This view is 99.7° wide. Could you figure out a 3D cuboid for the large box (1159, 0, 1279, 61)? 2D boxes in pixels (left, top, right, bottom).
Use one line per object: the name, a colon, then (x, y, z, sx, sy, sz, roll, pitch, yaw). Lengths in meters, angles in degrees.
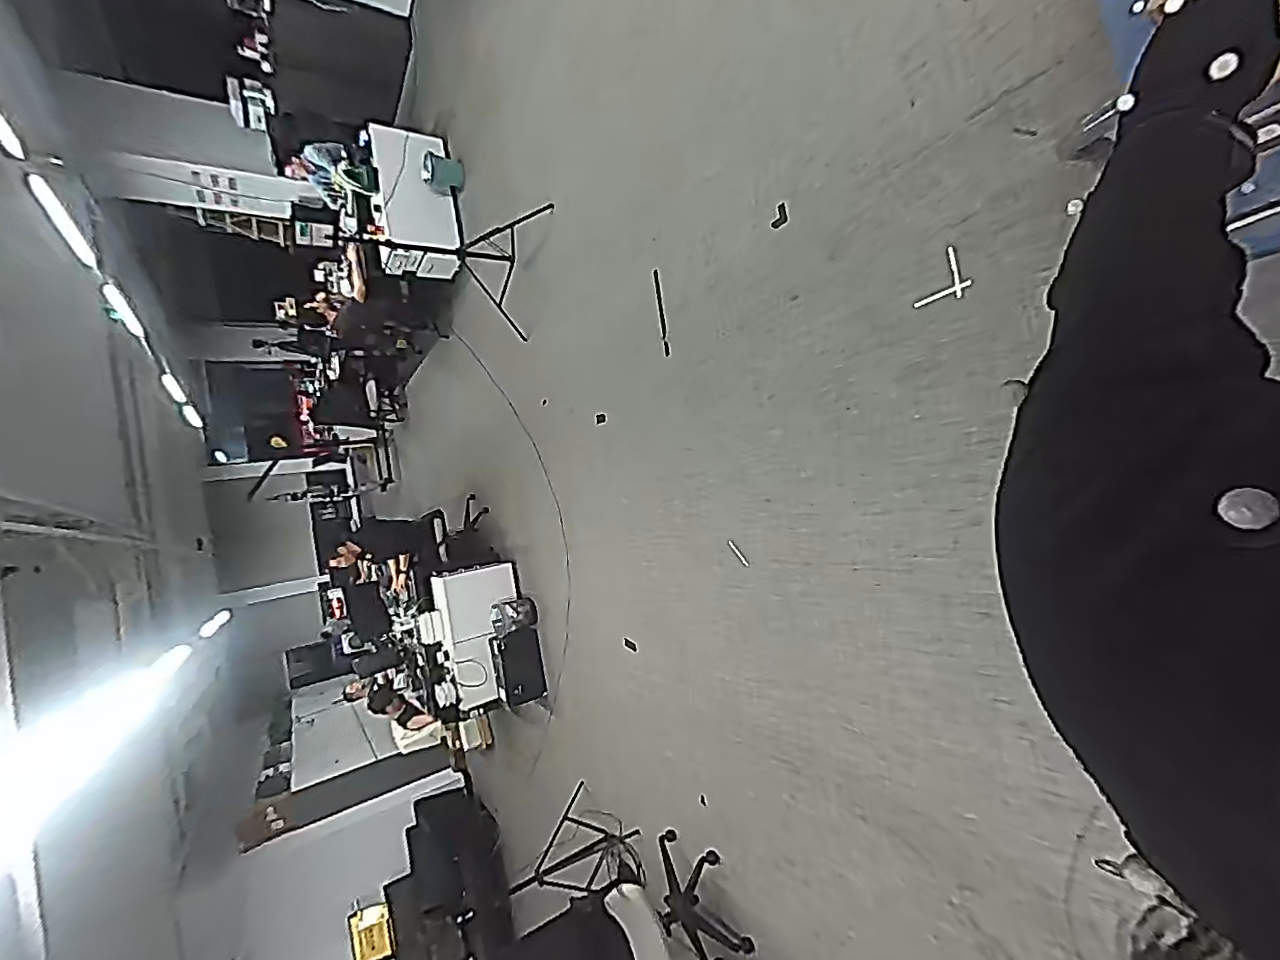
large box: (0.914, -0.846, 0.660, 0.408, 0.320, 0.320, -14, 84, 58)
